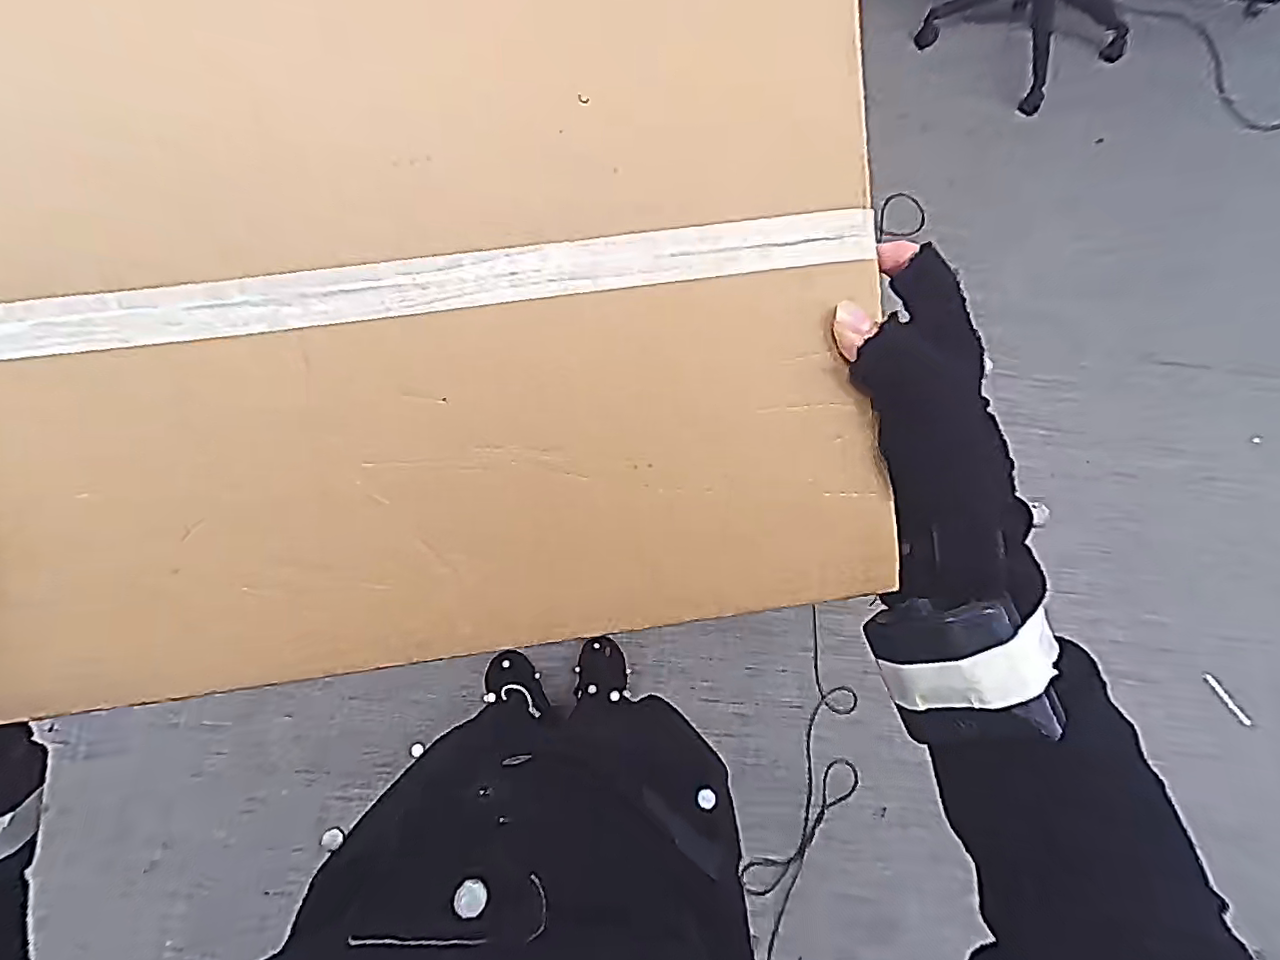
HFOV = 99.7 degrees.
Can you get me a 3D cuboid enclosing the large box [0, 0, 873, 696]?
[{"bbox_3d":[-0.109,-0.097,0.379,0.408,0.320,0.320,-7,96,-4],"label":"large box"}]
